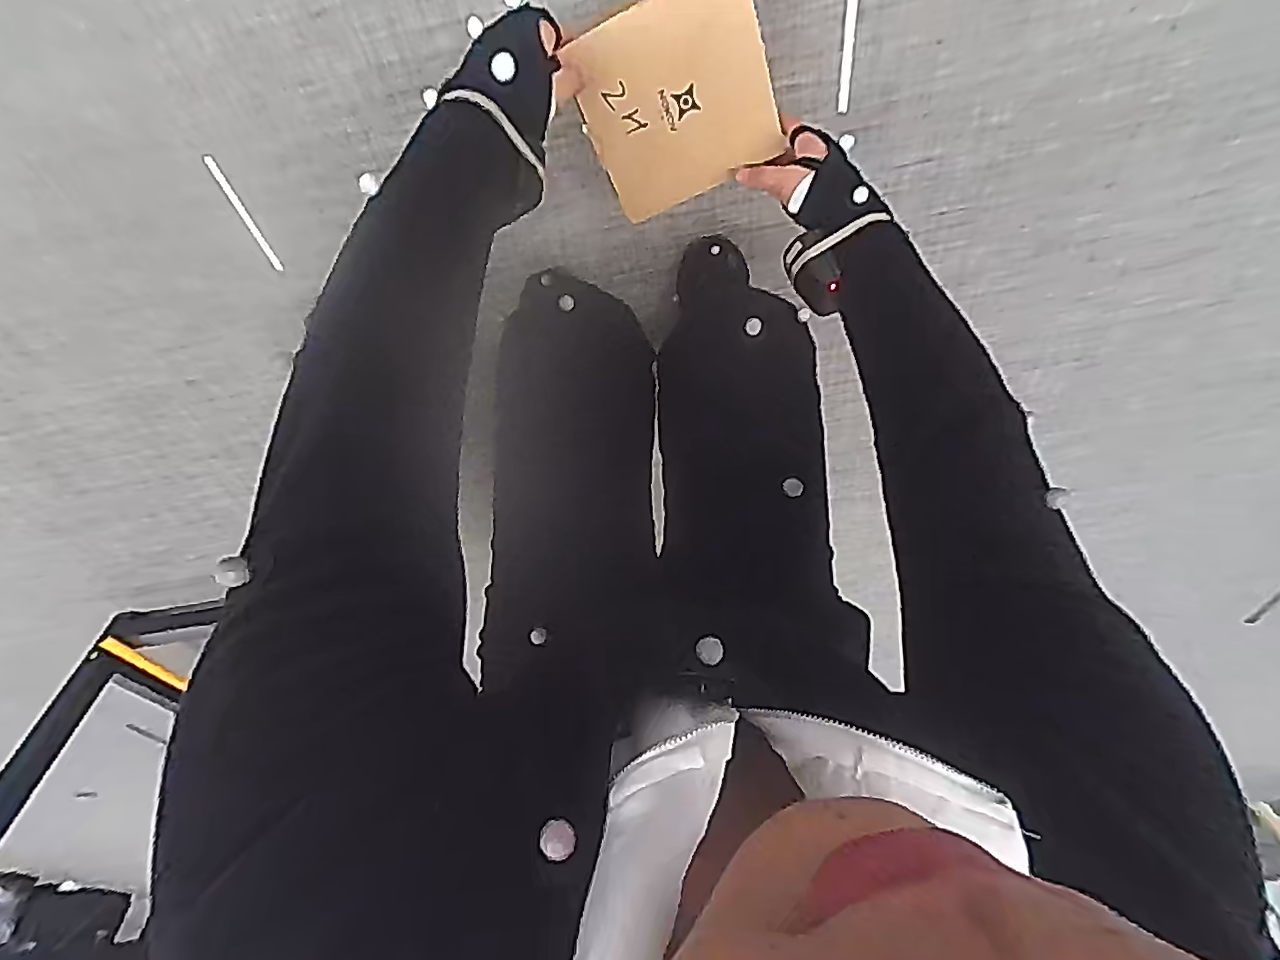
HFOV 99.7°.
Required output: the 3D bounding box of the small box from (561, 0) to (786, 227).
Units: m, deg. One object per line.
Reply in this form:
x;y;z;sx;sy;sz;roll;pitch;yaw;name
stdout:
0.032;-0.405;0.566;0.179;0.176;0.168;-19;131;13;small box
